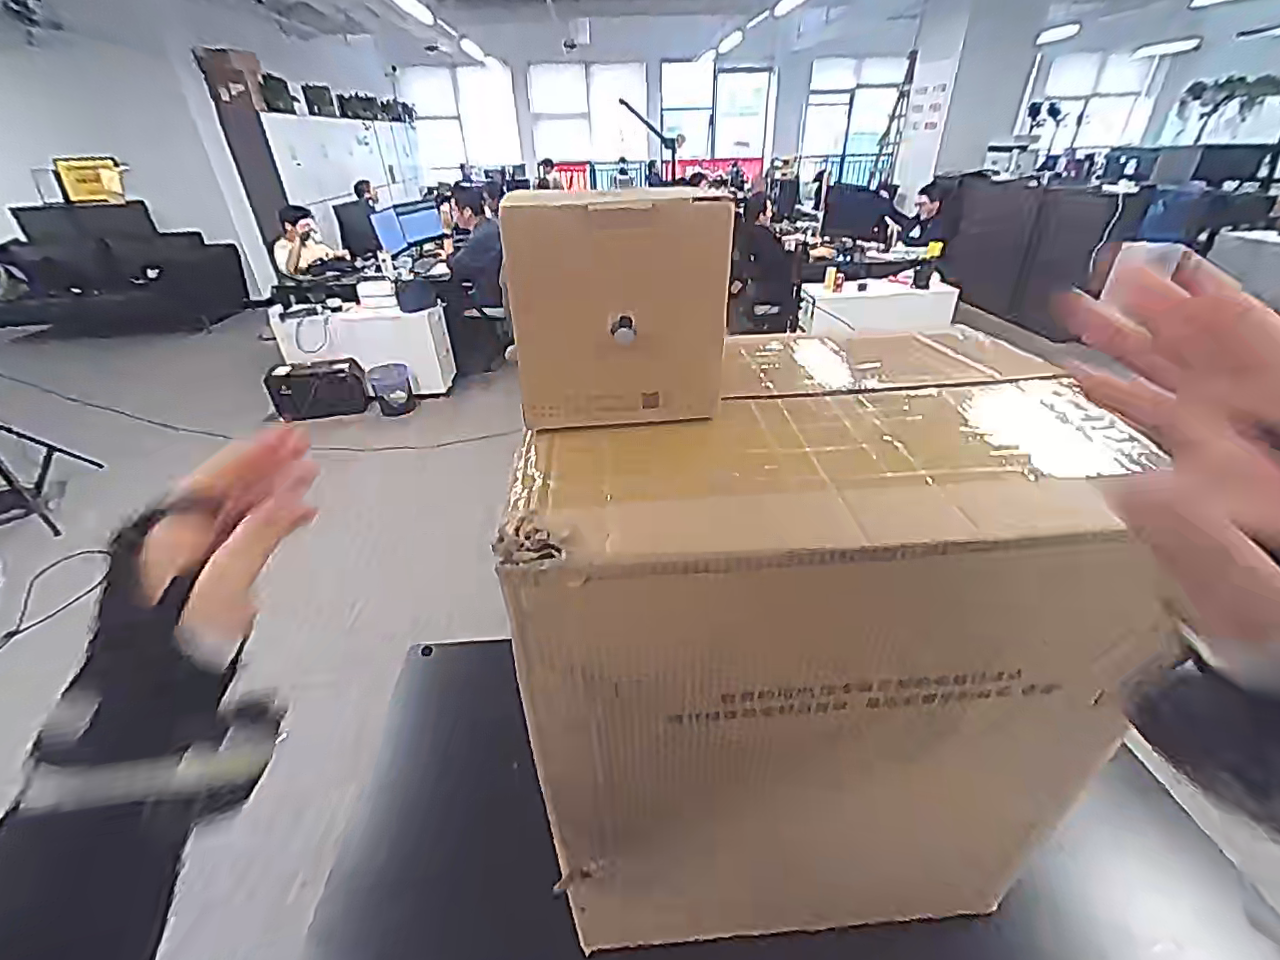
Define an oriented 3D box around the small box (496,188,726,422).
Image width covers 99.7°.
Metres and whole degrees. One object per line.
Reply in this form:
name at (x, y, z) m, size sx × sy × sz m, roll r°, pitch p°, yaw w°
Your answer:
small box at (-0.026, -0.158, 0.485) m, size 0.168 × 0.176 × 0.179 m, roll -5°, pitch 31°, yaw -6°
